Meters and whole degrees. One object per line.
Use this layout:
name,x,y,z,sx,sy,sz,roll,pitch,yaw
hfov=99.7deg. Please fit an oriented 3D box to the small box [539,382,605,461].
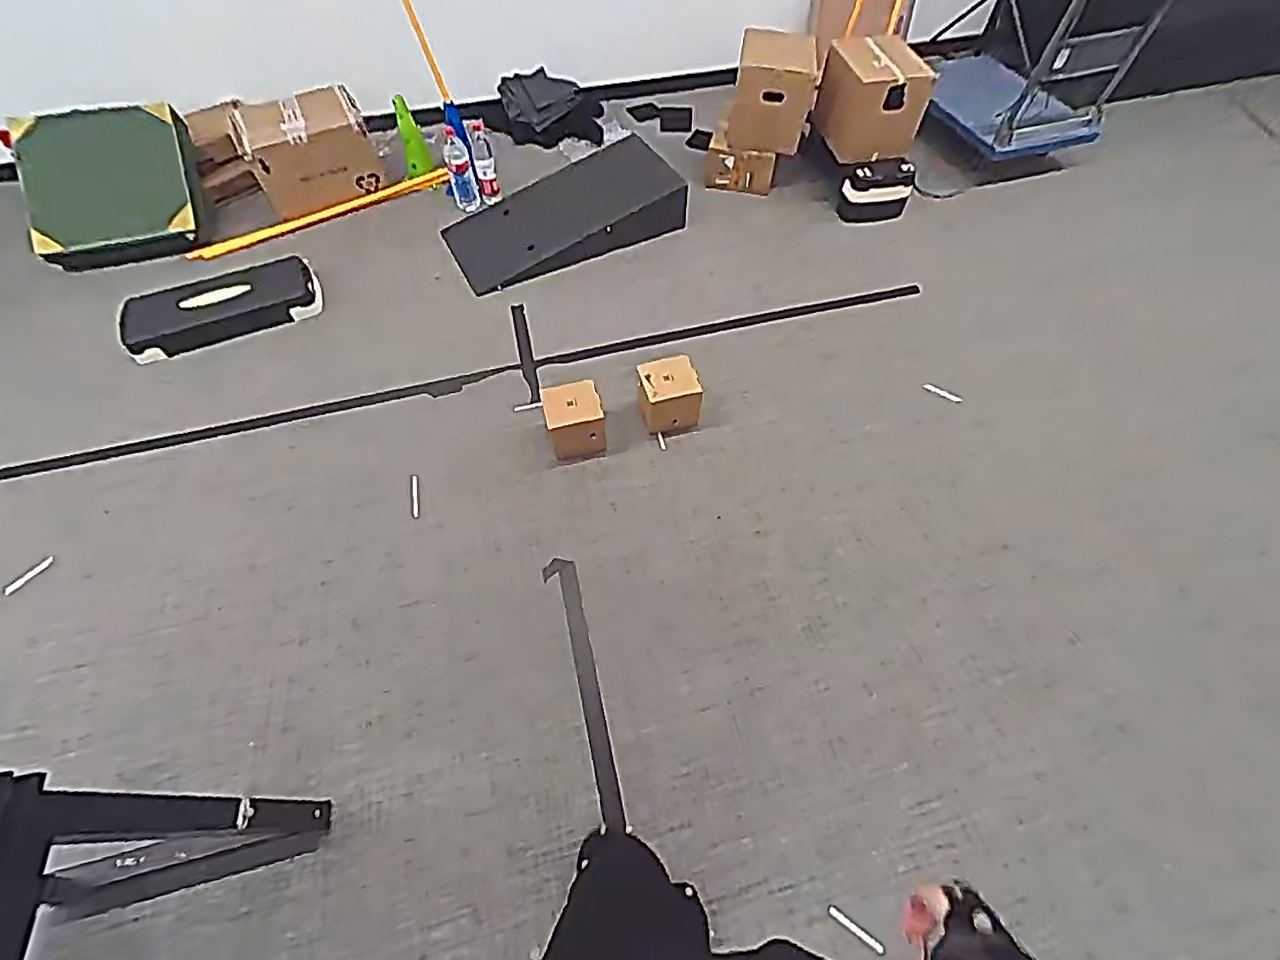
small box,-0.213,-0.185,1.731,0.179,0.176,0.168,-13,58,-8

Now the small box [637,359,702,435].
small box,0.090,-0.272,1.785,0.179,0.176,0.168,-13,58,-9
